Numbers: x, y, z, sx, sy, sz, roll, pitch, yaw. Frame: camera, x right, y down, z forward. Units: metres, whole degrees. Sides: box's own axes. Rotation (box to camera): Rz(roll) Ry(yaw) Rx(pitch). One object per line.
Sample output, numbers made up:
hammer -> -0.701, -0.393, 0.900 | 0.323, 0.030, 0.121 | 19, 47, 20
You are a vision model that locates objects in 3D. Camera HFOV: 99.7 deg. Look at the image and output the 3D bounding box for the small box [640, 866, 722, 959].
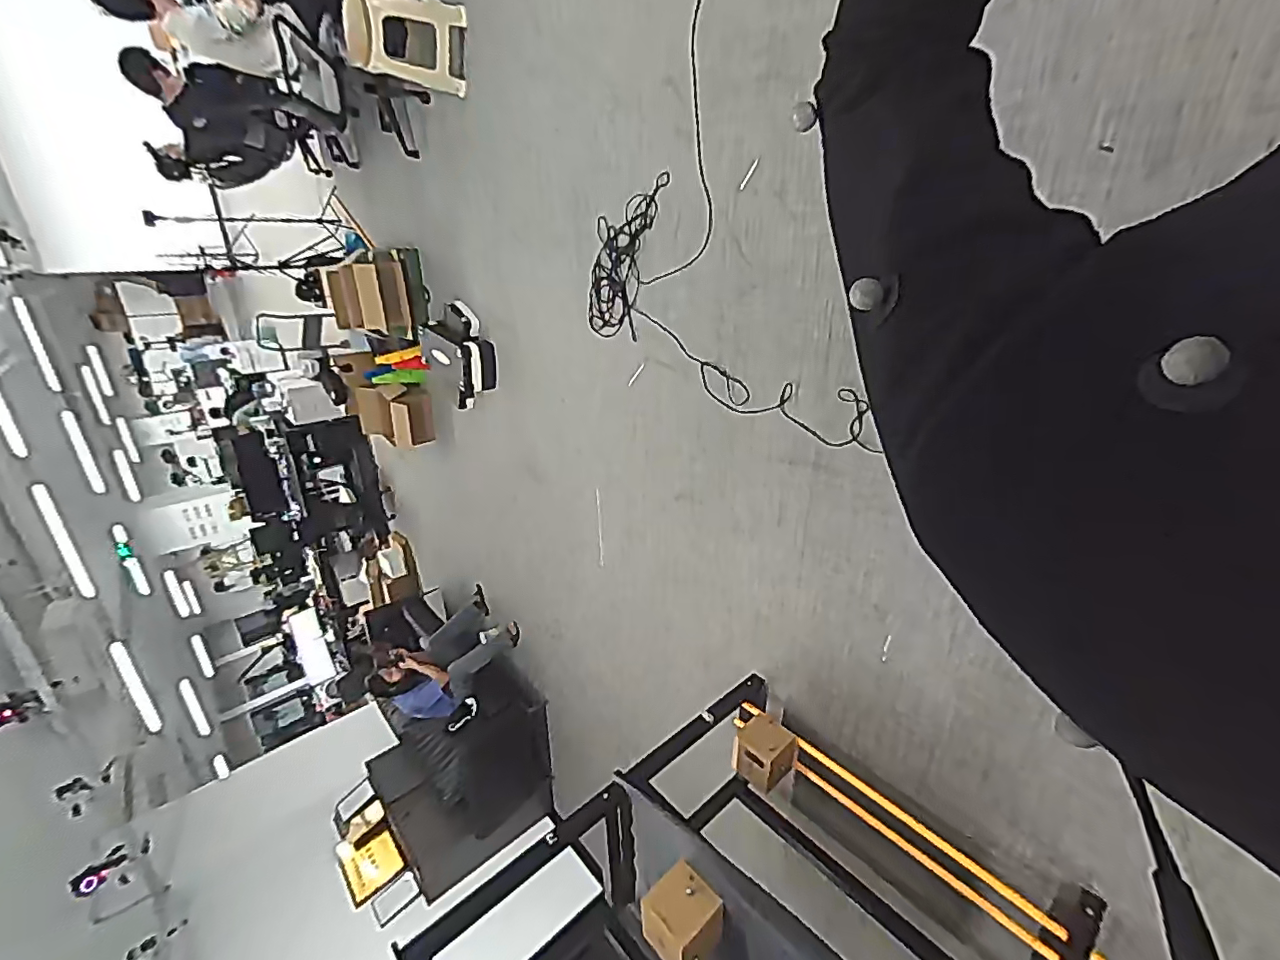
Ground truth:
small box -> 0.117, 1.255, 1.524 | 0.168, 0.176, 0.179 | 21, 121, 44
